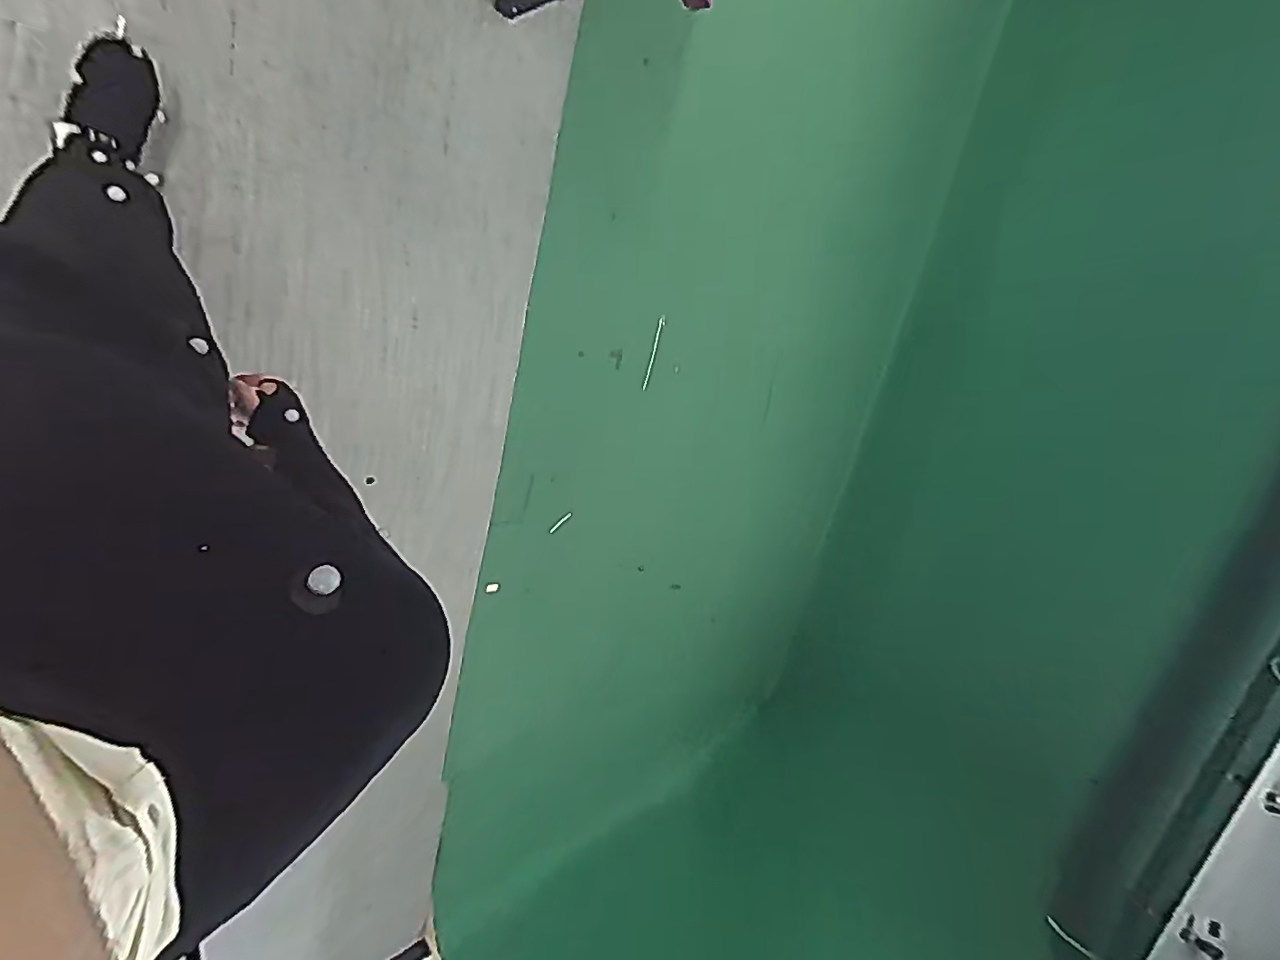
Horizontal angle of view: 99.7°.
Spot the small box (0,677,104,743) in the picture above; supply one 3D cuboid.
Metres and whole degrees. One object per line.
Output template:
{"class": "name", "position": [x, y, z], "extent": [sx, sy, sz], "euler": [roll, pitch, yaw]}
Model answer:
{"class": "small box", "position": [-1.322, 0.573, 1.203], "extent": [0.168, 0.176, 0.179], "euler": [5, 106, -50]}

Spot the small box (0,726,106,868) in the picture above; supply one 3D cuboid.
{"class": "small box", "position": [-1.214, 0.629, 1.093], "extent": [0.168, 0.176, 0.179], "euler": [5, 108, -49]}
